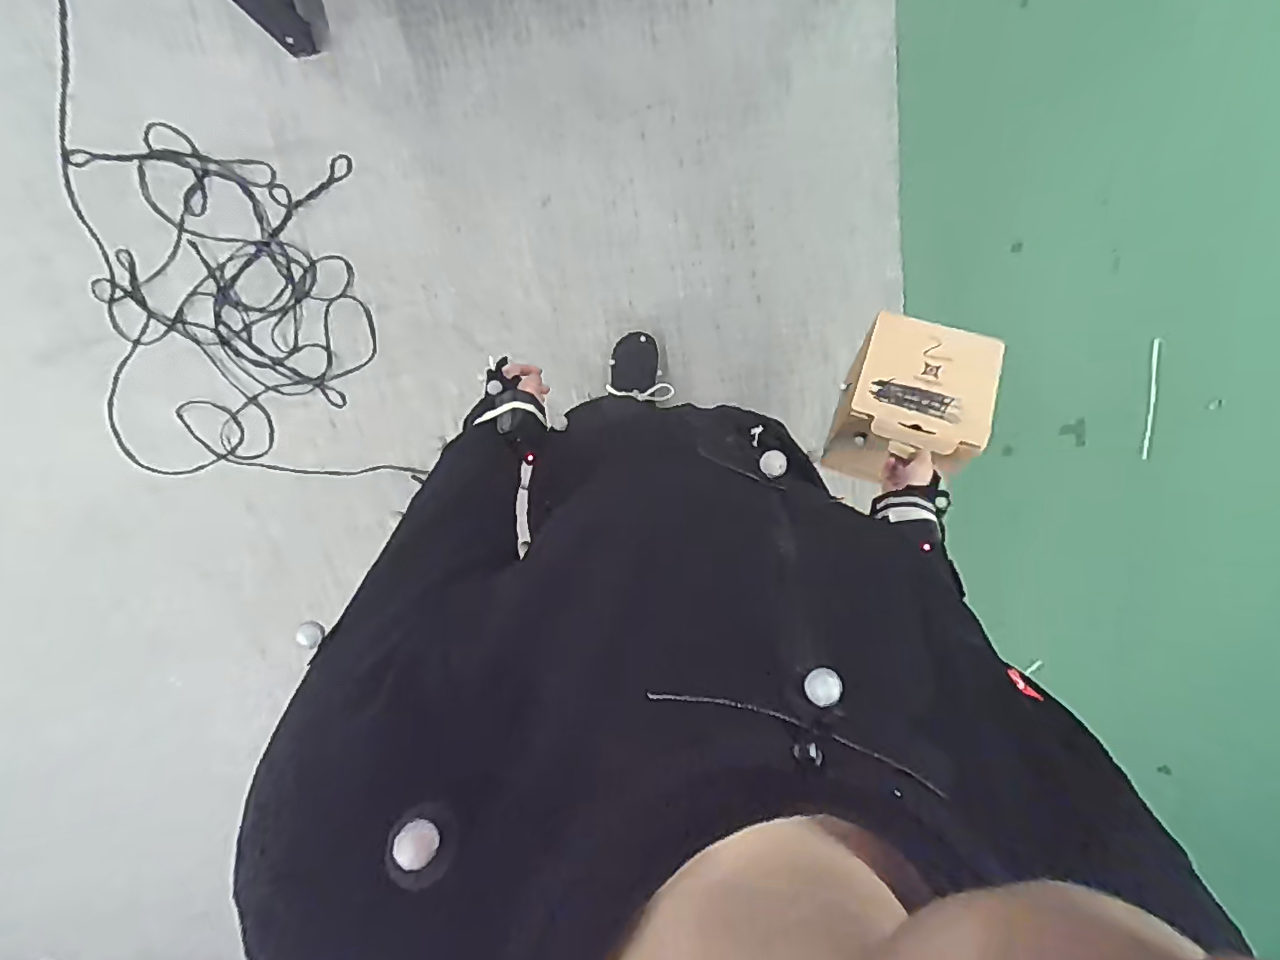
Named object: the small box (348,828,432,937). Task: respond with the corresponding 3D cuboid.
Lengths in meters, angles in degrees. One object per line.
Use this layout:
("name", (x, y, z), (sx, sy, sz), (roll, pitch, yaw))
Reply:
("small box", (-0.693, 1.121, 1.513), (0.168, 0.176, 0.179), (9, 103, -6))
